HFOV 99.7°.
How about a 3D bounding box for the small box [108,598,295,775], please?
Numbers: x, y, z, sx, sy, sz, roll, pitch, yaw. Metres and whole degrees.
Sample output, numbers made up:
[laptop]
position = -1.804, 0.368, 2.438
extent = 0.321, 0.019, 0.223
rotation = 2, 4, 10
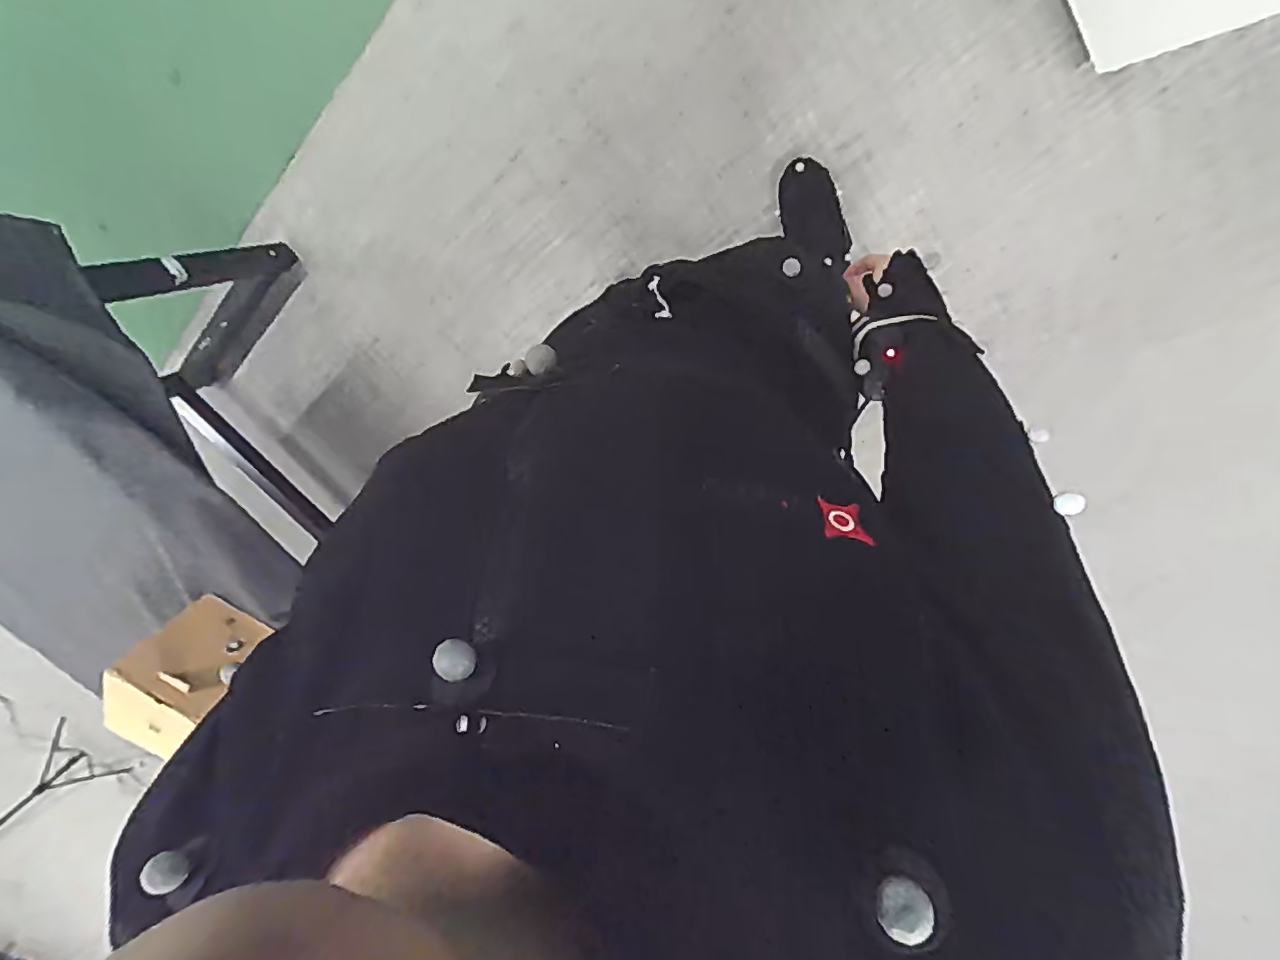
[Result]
[small box]
position = -0.701, 0.330, 0.878
extent = 0.168, 0.176, 0.179
rotation = 33, 122, -5
